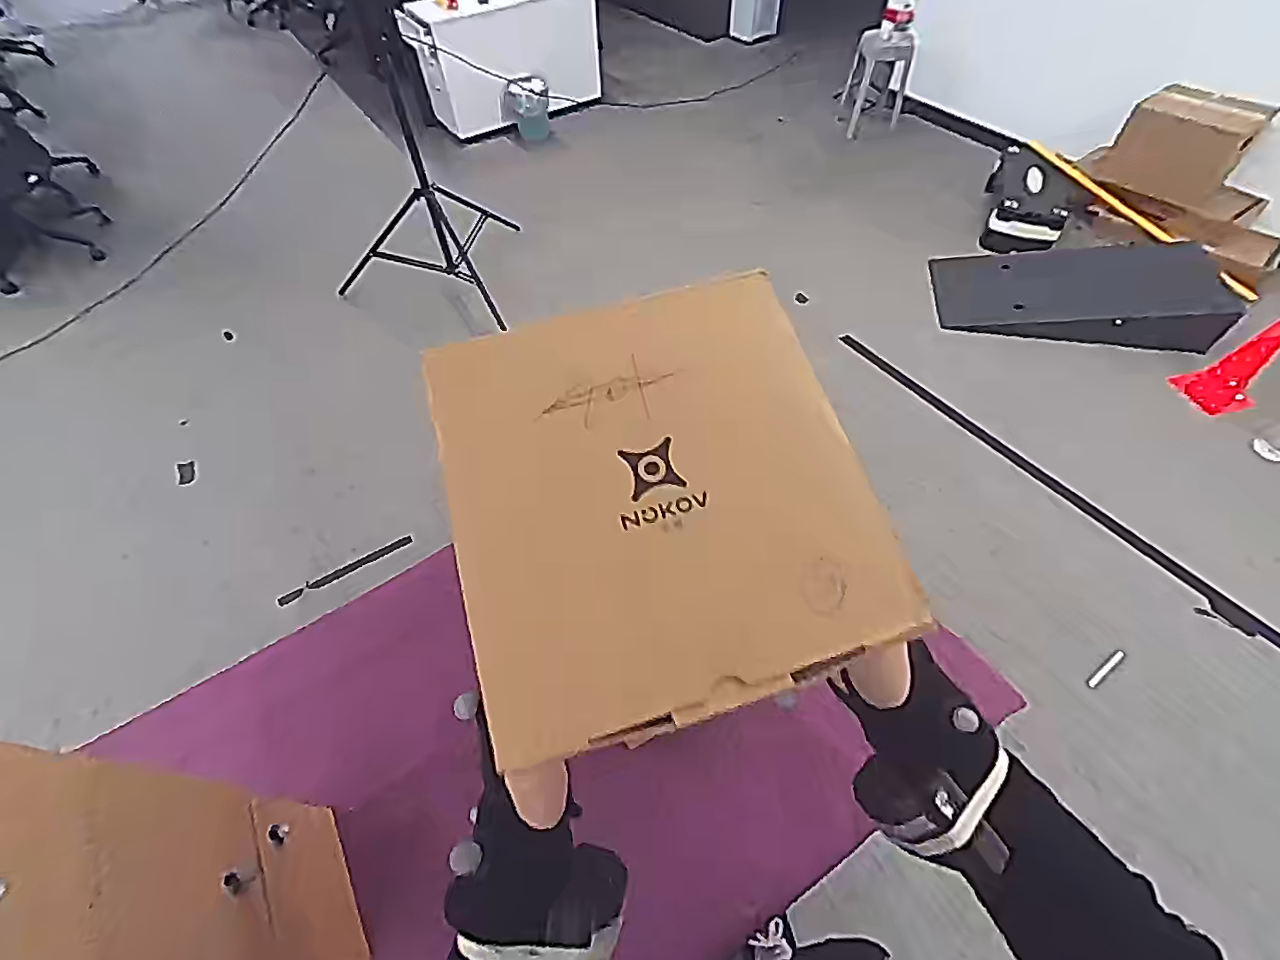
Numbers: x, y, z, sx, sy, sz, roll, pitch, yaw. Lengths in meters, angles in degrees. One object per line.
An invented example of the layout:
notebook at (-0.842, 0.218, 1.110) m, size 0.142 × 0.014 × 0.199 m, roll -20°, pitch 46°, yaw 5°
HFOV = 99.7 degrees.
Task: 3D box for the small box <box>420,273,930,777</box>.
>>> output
small box at (0.005, 0.029, 0.291) m, size 0.168 × 0.176 × 0.179 m, roll -16°, pitch 69°, yaw -8°

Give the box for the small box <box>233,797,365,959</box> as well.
small box at (-0.394, 0.440, 0.516) m, size 0.168 × 0.176 × 0.179 m, roll -29°, pitch 58°, yaw -18°

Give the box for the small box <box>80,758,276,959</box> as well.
small box at (-0.401, 0.340, 0.386) m, size 0.168 × 0.176 × 0.179 m, roll -29°, pitch 58°, yaw -18°
